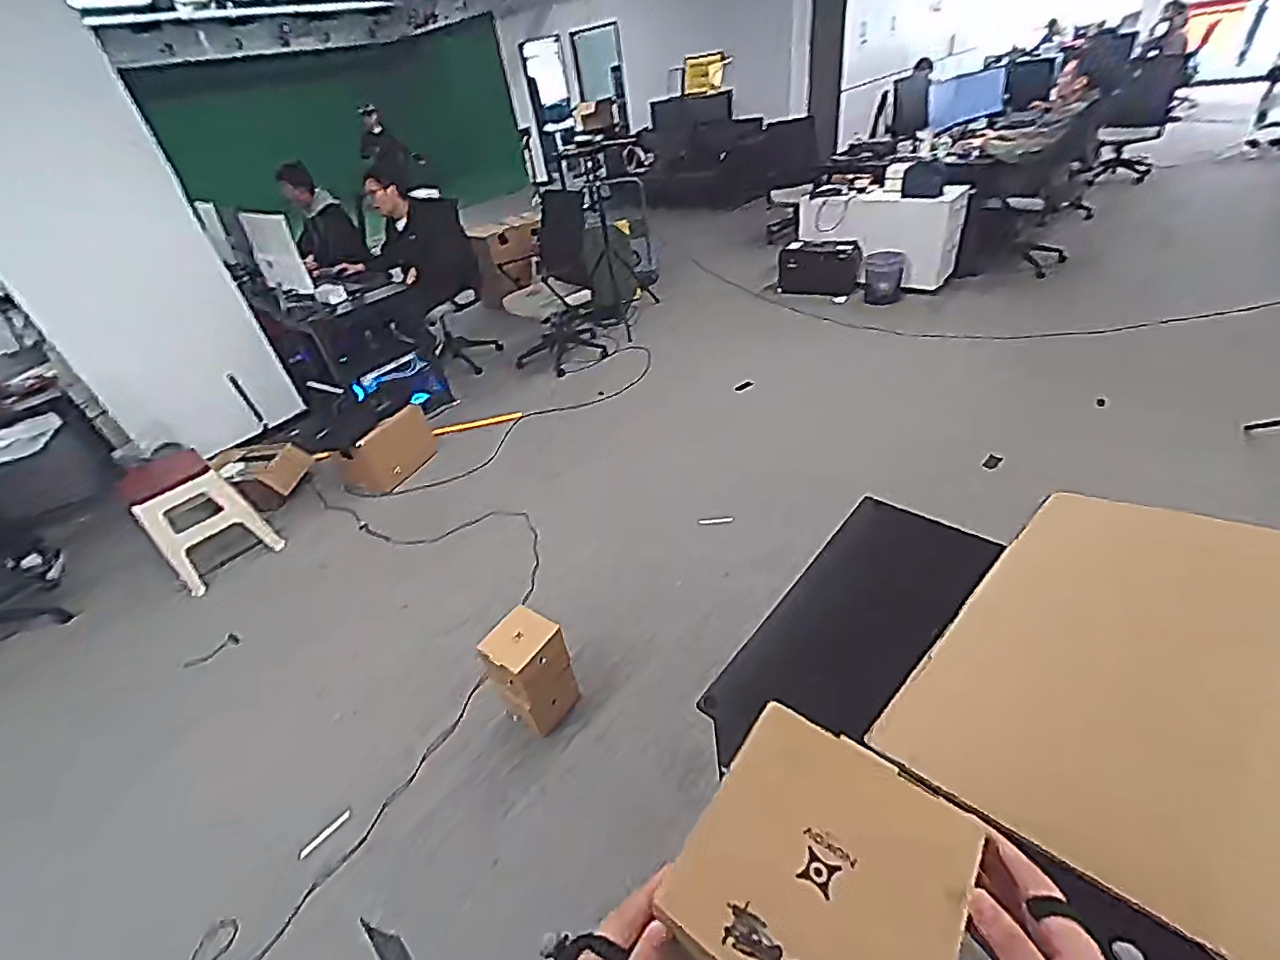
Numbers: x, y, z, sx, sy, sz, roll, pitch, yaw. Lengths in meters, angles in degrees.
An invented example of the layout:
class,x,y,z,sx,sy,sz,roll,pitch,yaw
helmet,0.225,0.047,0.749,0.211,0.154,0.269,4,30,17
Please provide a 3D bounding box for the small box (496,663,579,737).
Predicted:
class,x,y,z,sx,sy,sz,roll,pitch,yaw
small box,-0.303,0.635,1.646,0.168,0.176,0.179,20,47,34

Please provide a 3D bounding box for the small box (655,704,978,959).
class,x,y,z,sx,sy,sz,roll,pitch,yaw
small box,0.126,0.321,0.411,0.168,0.176,0.179,21,42,31

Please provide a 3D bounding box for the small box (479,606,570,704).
class,x,y,z,sx,sy,sz,roll,pitch,yaw
small box,-0.323,0.504,1.553,0.168,0.176,0.179,19,44,31
